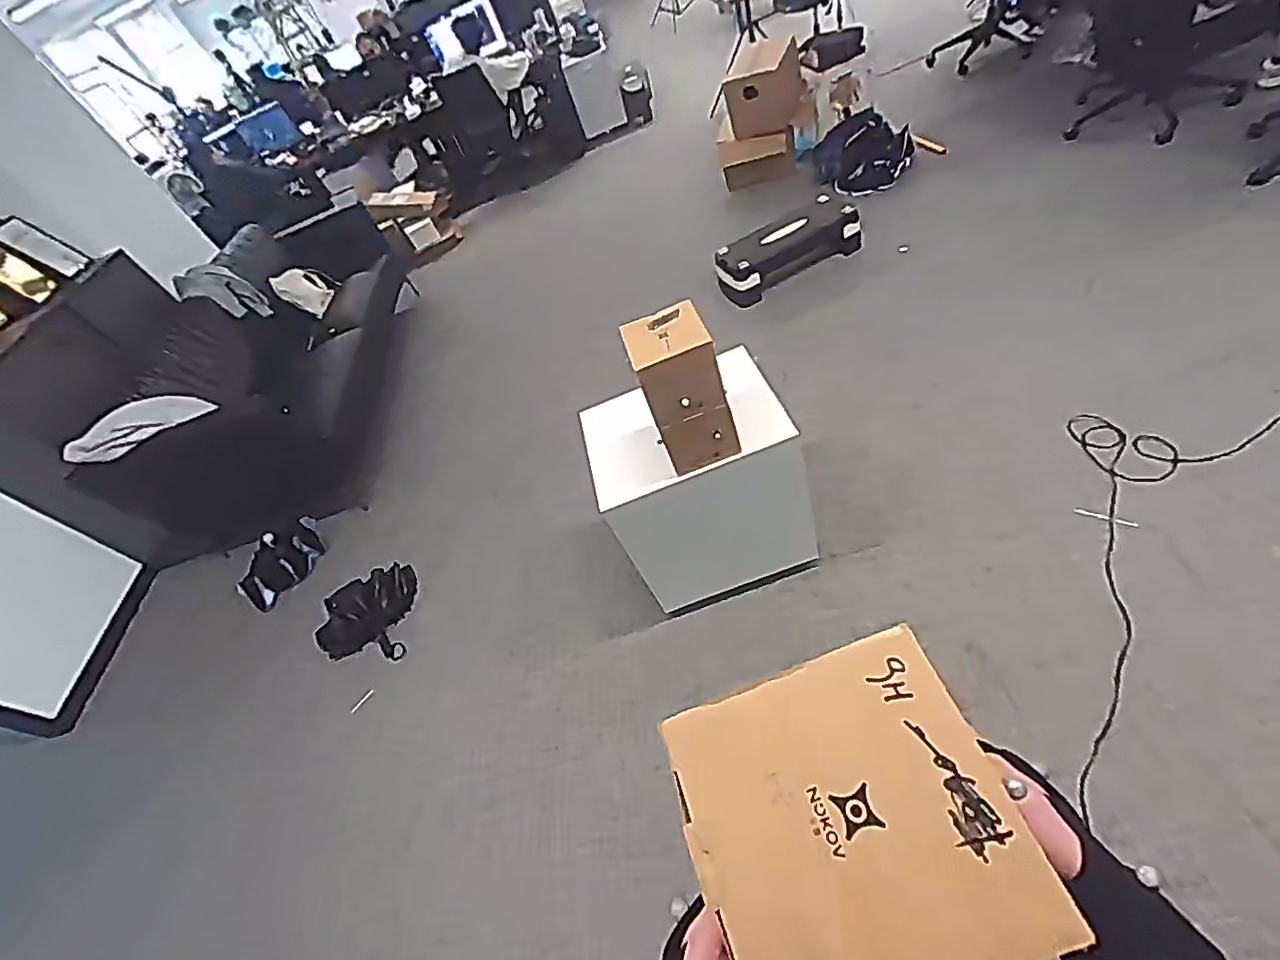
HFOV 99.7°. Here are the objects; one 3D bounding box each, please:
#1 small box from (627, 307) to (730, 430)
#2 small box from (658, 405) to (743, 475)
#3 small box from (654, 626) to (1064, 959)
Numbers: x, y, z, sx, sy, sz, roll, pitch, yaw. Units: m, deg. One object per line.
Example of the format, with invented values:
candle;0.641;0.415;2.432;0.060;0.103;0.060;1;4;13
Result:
small box;0.084;-0.240;1.181;0.168;0.176;0.179;-20;46;5
small box;0.134;-0.133;1.296;0.168;0.176;0.179;-21;44;4
small box;0.134;0.228;0.381;0.179;0.176;0.168;-24;58;7
